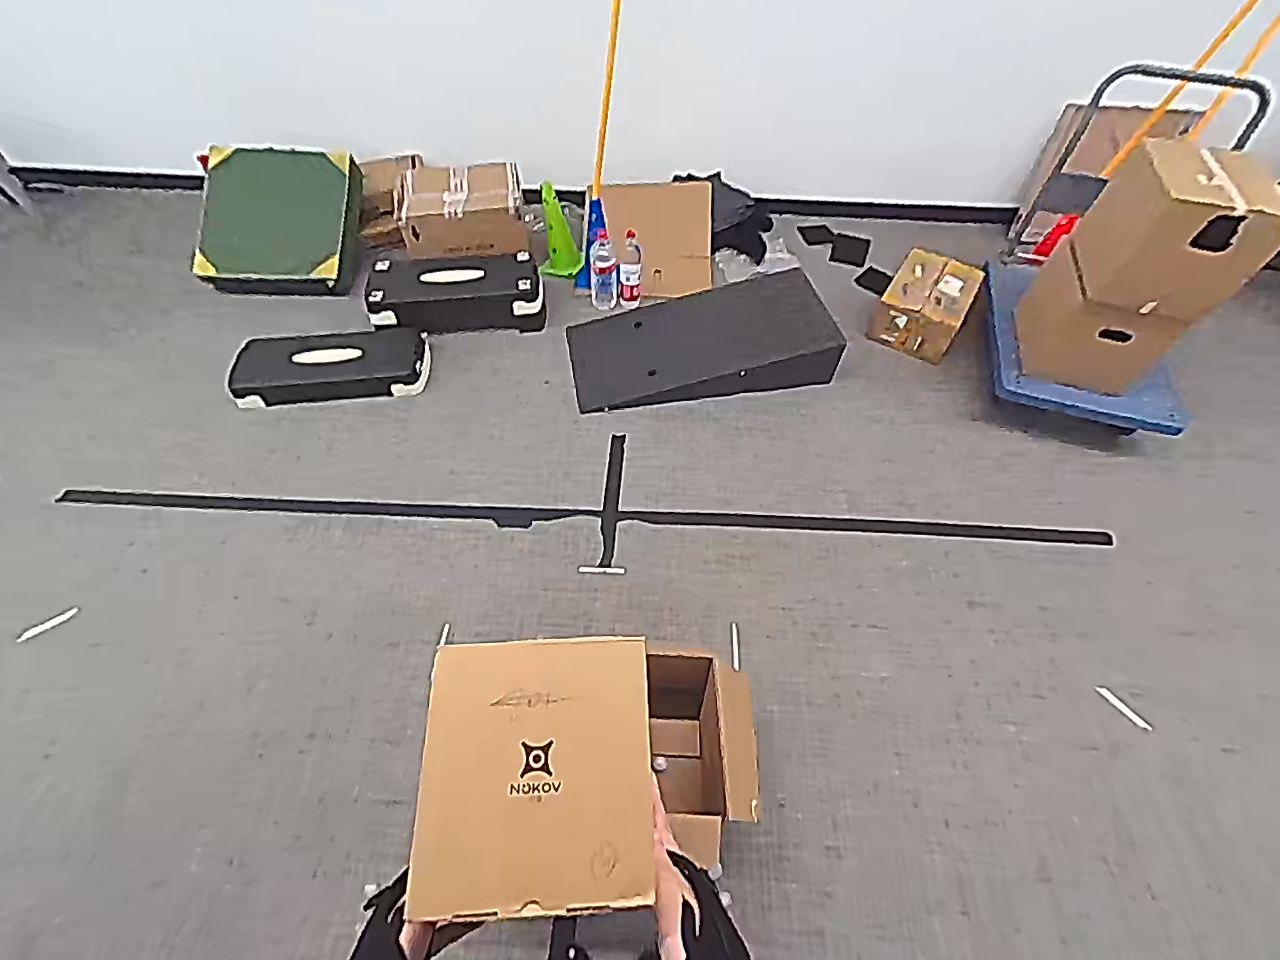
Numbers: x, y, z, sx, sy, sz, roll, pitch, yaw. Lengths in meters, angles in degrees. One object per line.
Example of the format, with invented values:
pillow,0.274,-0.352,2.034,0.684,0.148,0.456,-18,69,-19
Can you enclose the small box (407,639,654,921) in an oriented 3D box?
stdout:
small box,-0.073,0.238,0.456,0.168,0.176,0.179,-1,63,-2
